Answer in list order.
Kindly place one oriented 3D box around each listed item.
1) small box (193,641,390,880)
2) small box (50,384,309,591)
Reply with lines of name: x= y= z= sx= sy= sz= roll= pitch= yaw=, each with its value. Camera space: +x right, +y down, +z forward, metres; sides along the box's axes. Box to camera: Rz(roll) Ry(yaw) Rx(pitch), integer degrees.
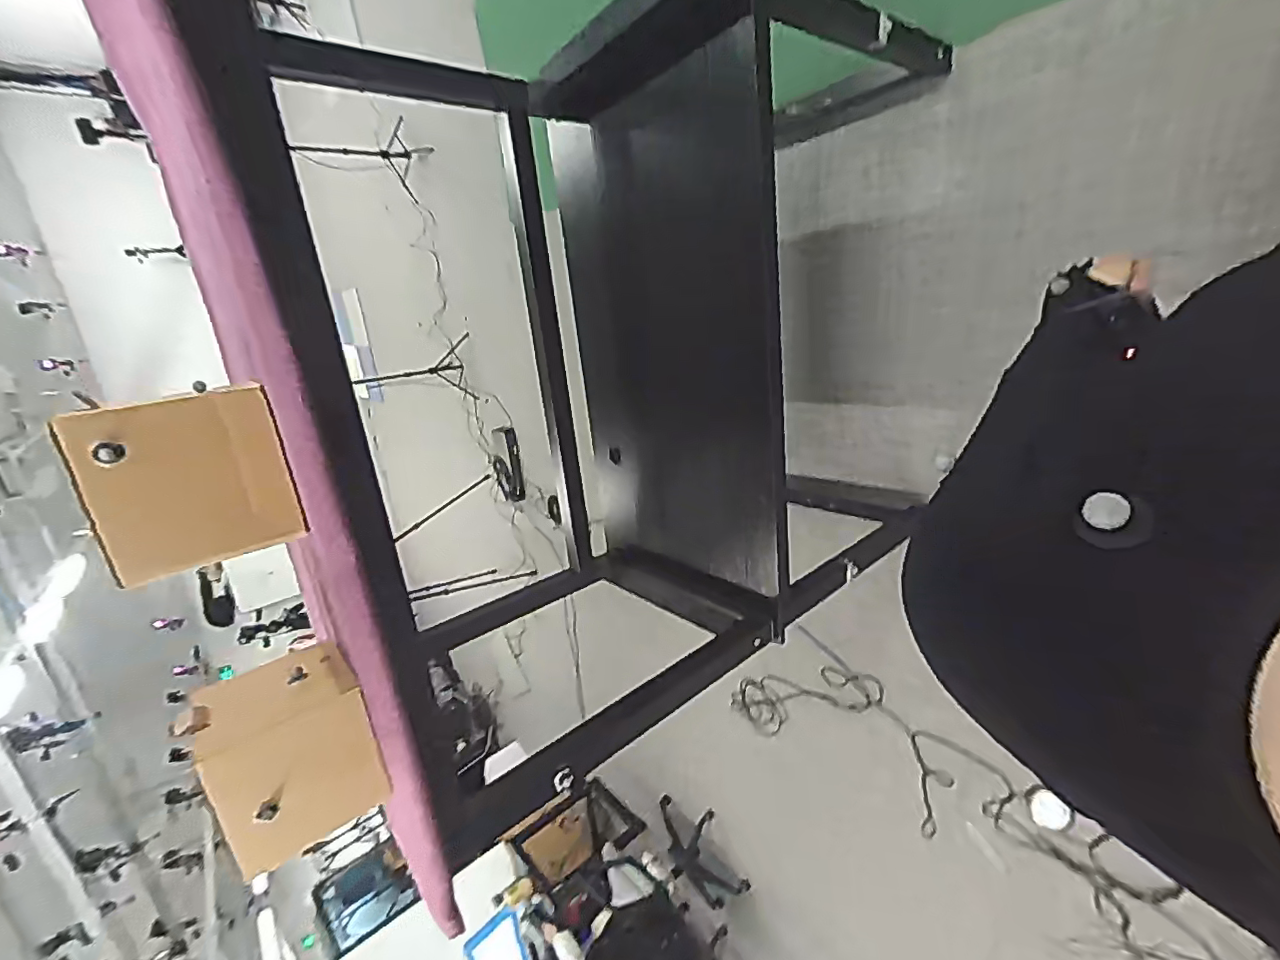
small box: x=-0.444 y=0.343 z=0.698 sx=0.168 sy=0.176 sz=0.179 roll=12 pitch=115 yaw=48
small box: x=-0.497 y=-0.006 z=0.611 sx=0.168 sy=0.176 sz=0.179 roll=14 pitch=116 yaw=51
